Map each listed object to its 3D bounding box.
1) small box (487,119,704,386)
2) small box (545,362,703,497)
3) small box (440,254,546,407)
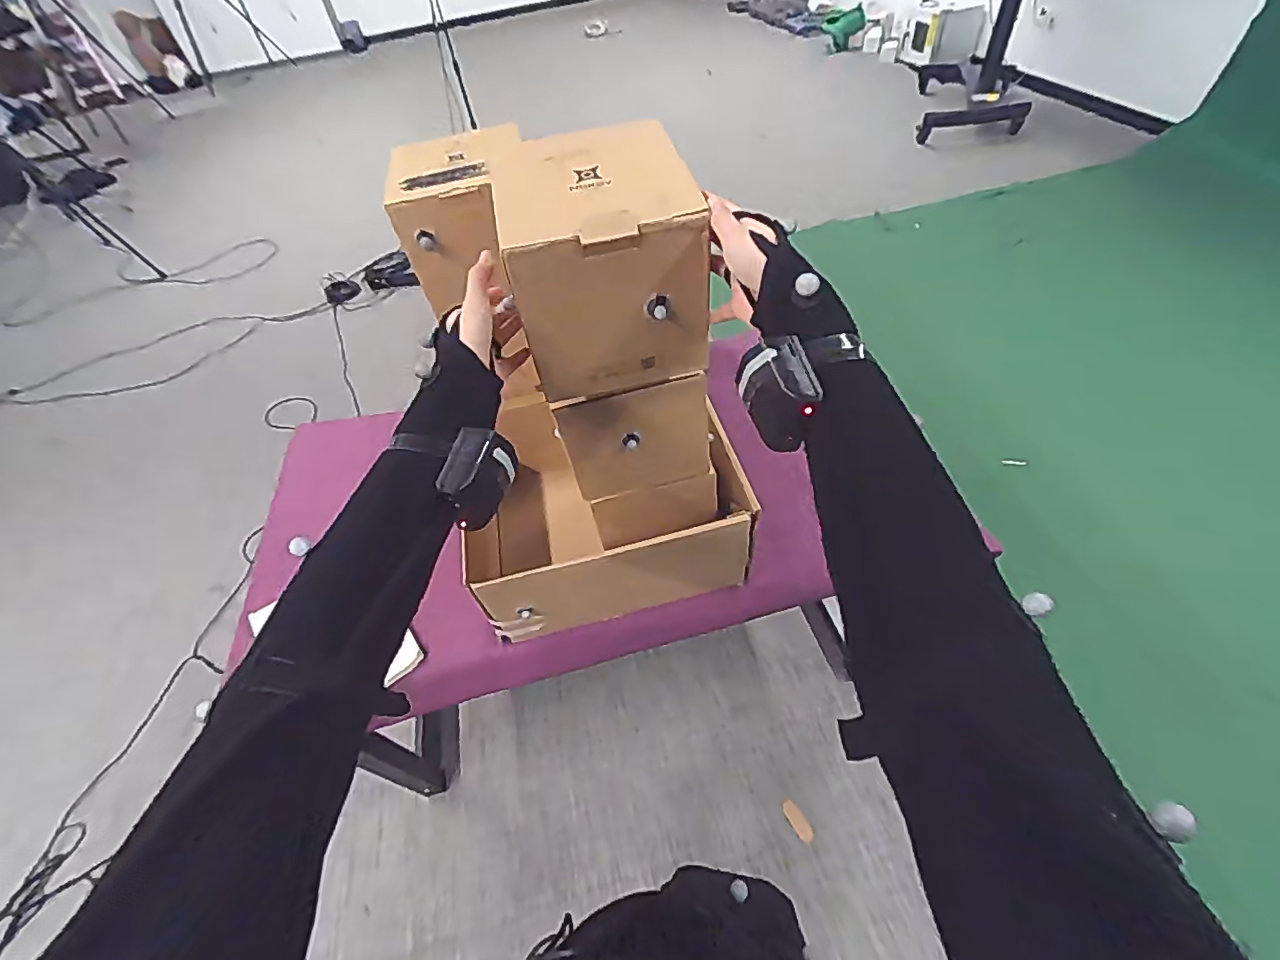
[{"bbox_3d":[-0.039,-0.209,0.522,0.168,0.176,0.179,-12,54,-4],"label":"small box"},{"bbox_3d":[-0.020,-0.103,0.703,0.179,0.176,0.168,-14,48,0],"label":"small box"},{"bbox_3d":[-0.199,-0.233,0.847,0.168,0.176,0.179,-13,51,-3],"label":"small box"}]
